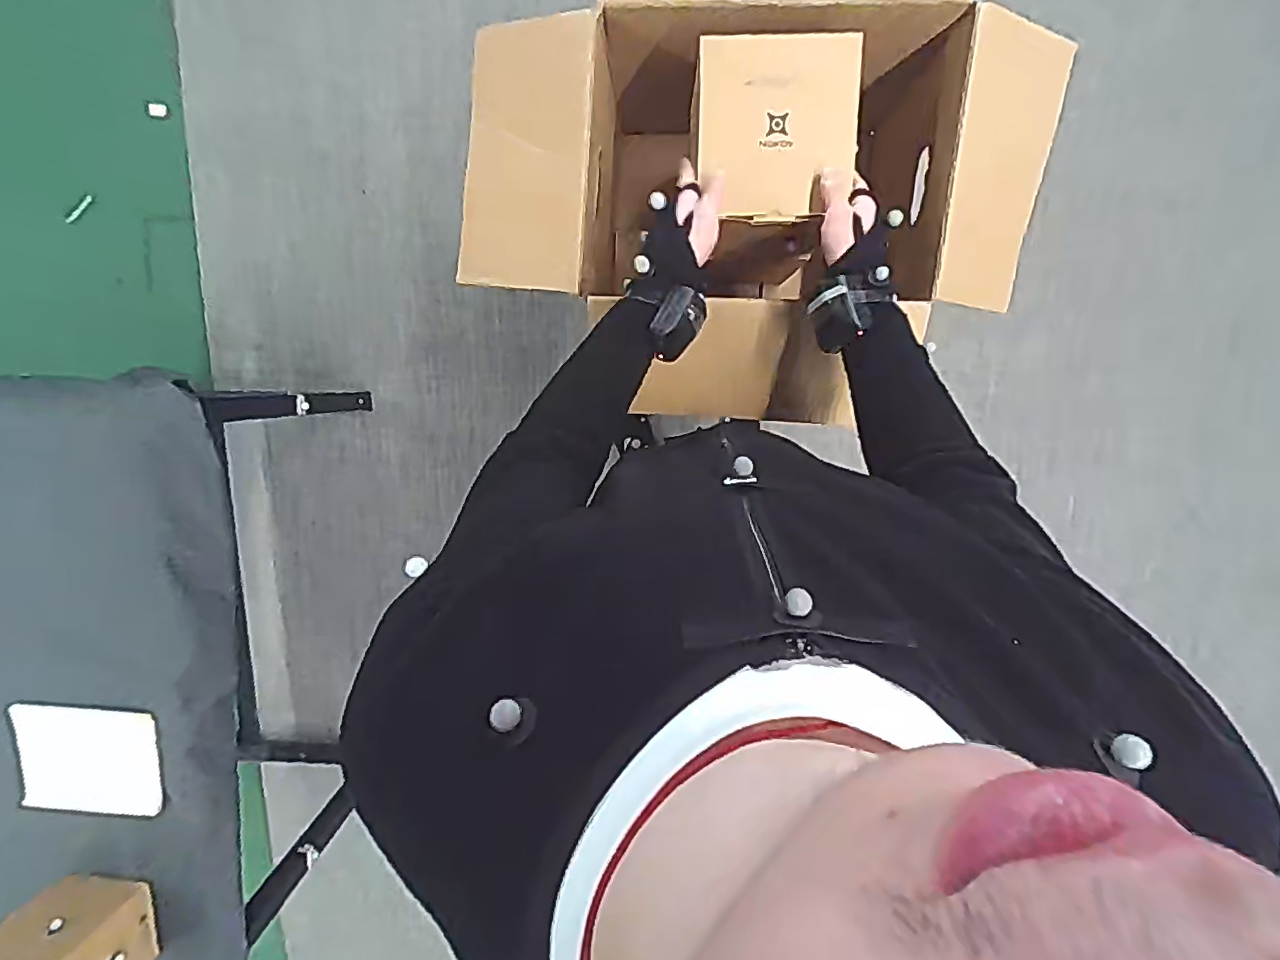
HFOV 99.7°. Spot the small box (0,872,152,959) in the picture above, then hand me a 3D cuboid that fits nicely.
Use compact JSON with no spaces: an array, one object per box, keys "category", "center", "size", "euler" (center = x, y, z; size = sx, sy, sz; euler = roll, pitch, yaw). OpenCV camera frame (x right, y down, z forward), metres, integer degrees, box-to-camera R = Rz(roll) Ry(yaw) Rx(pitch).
[{"category":"small box","center":[-1.022,0.842,0.963],"size":[0.179,0.176,0.168],"euler":[2,100,3]}]
